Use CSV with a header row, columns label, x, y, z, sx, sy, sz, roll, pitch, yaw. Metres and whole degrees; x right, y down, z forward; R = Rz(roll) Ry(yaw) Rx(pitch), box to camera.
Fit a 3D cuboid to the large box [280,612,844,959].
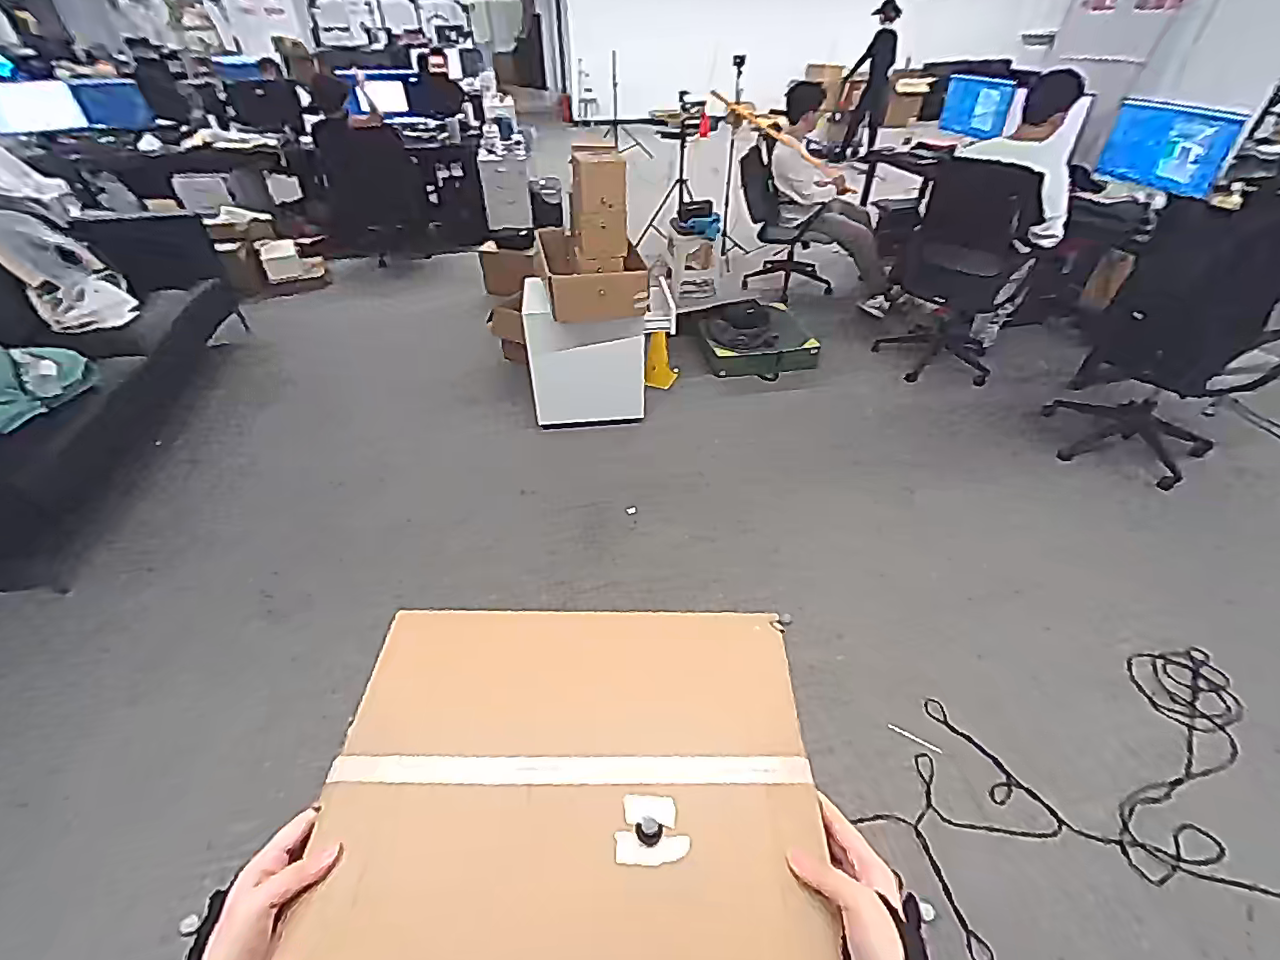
label,x,y,z,sx,sy,sz,roll,pitch,yaw
large box,-0.060,0.357,0.575,0.408,0.320,0.320,1,44,-1
